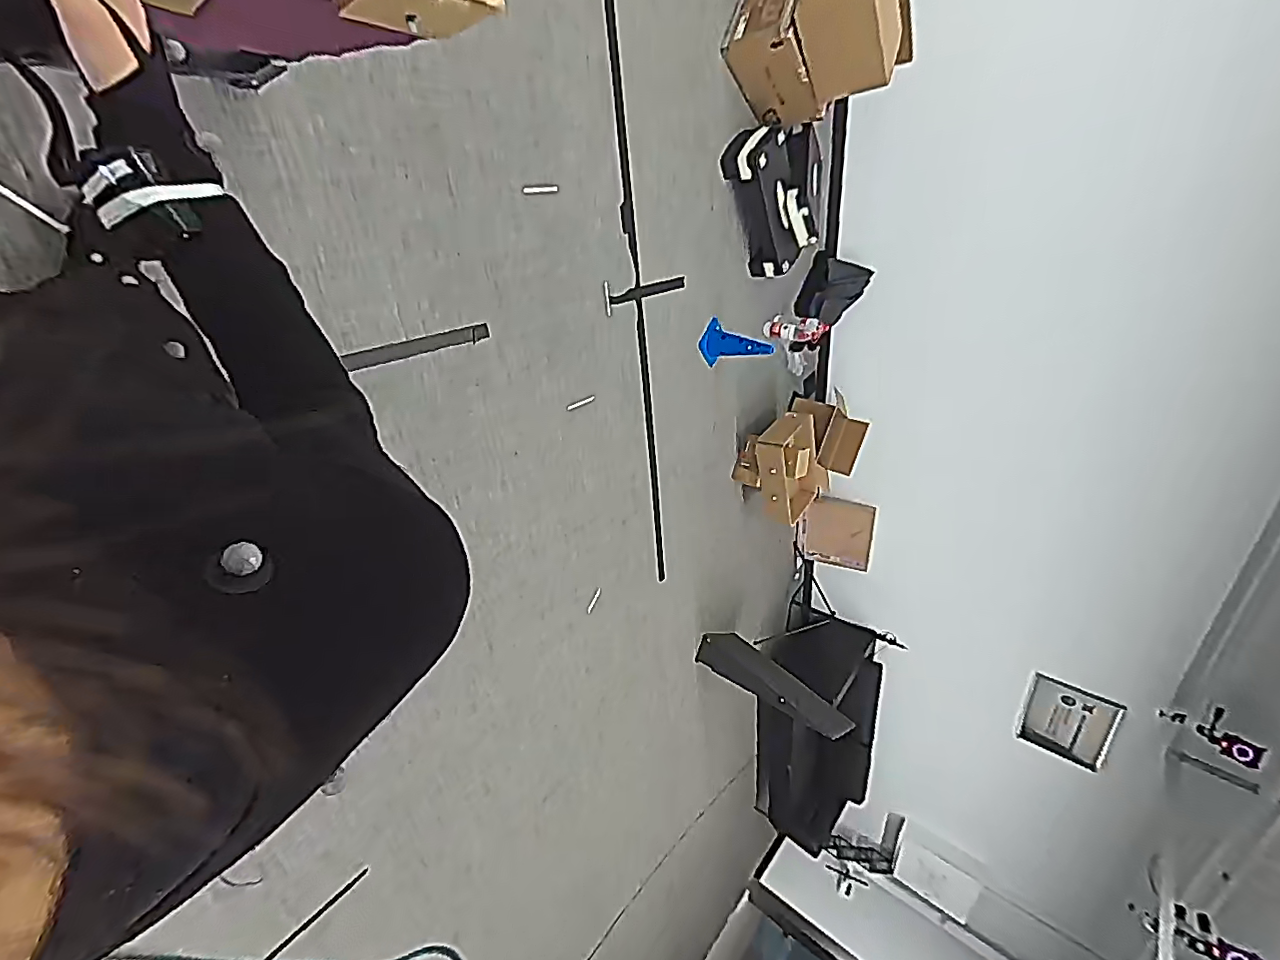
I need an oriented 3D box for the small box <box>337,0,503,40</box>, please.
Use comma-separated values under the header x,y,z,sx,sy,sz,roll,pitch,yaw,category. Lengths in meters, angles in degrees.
x,y,z,sx,sy,sz,roll,pitch,yaw,category
-0.307,-0.724,0.710,0.168,0.176,0.179,-25,122,-42,small box
